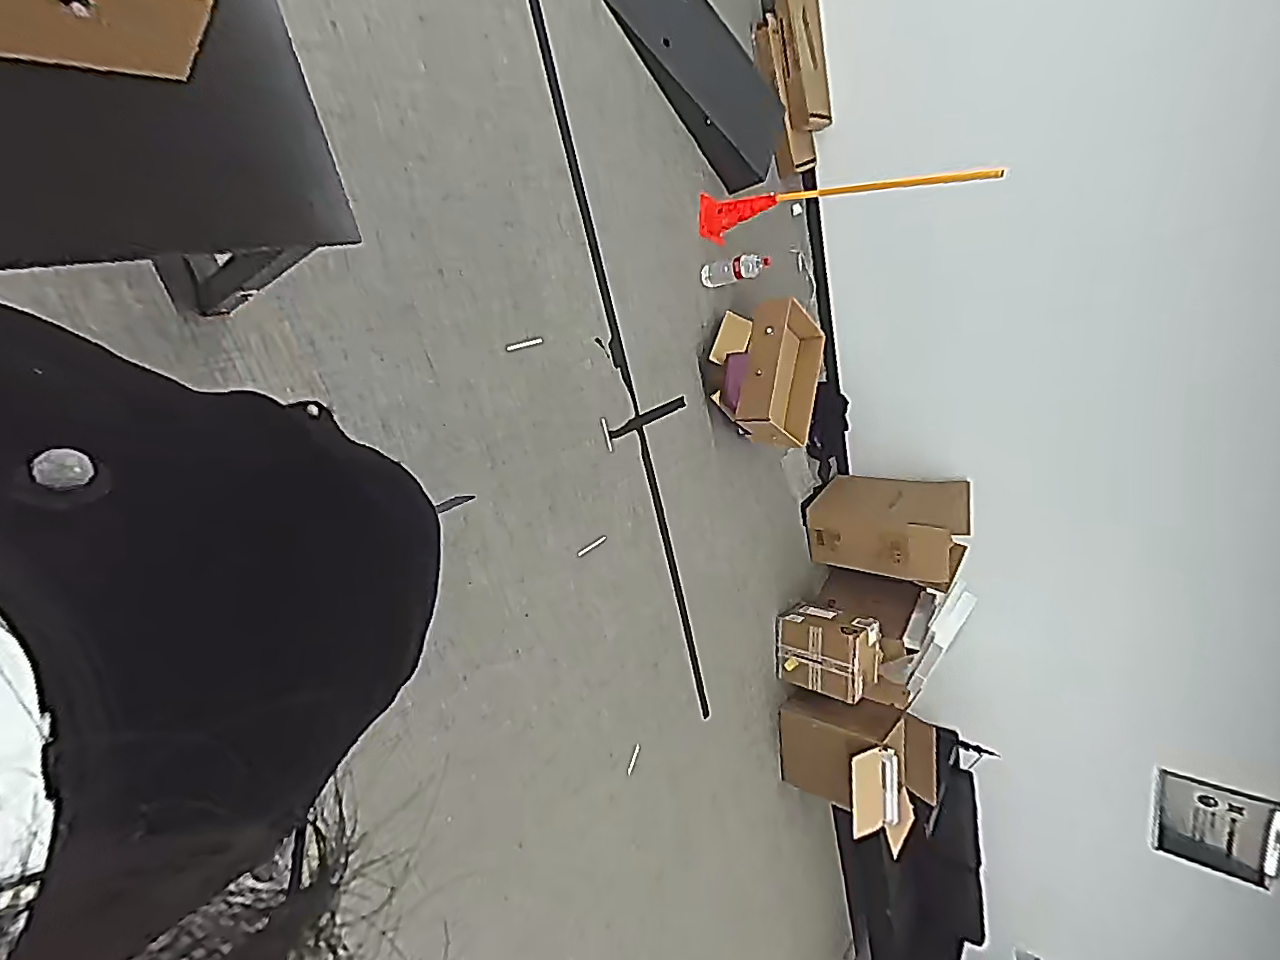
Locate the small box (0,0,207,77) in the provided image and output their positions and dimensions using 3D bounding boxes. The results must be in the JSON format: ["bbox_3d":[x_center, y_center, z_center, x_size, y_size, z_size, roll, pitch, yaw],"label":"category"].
[{"bbox_3d":[-0.529,-0.493,0.477,0.179,0.176,0.168,-28,113,-43],"label":"small box"}]
